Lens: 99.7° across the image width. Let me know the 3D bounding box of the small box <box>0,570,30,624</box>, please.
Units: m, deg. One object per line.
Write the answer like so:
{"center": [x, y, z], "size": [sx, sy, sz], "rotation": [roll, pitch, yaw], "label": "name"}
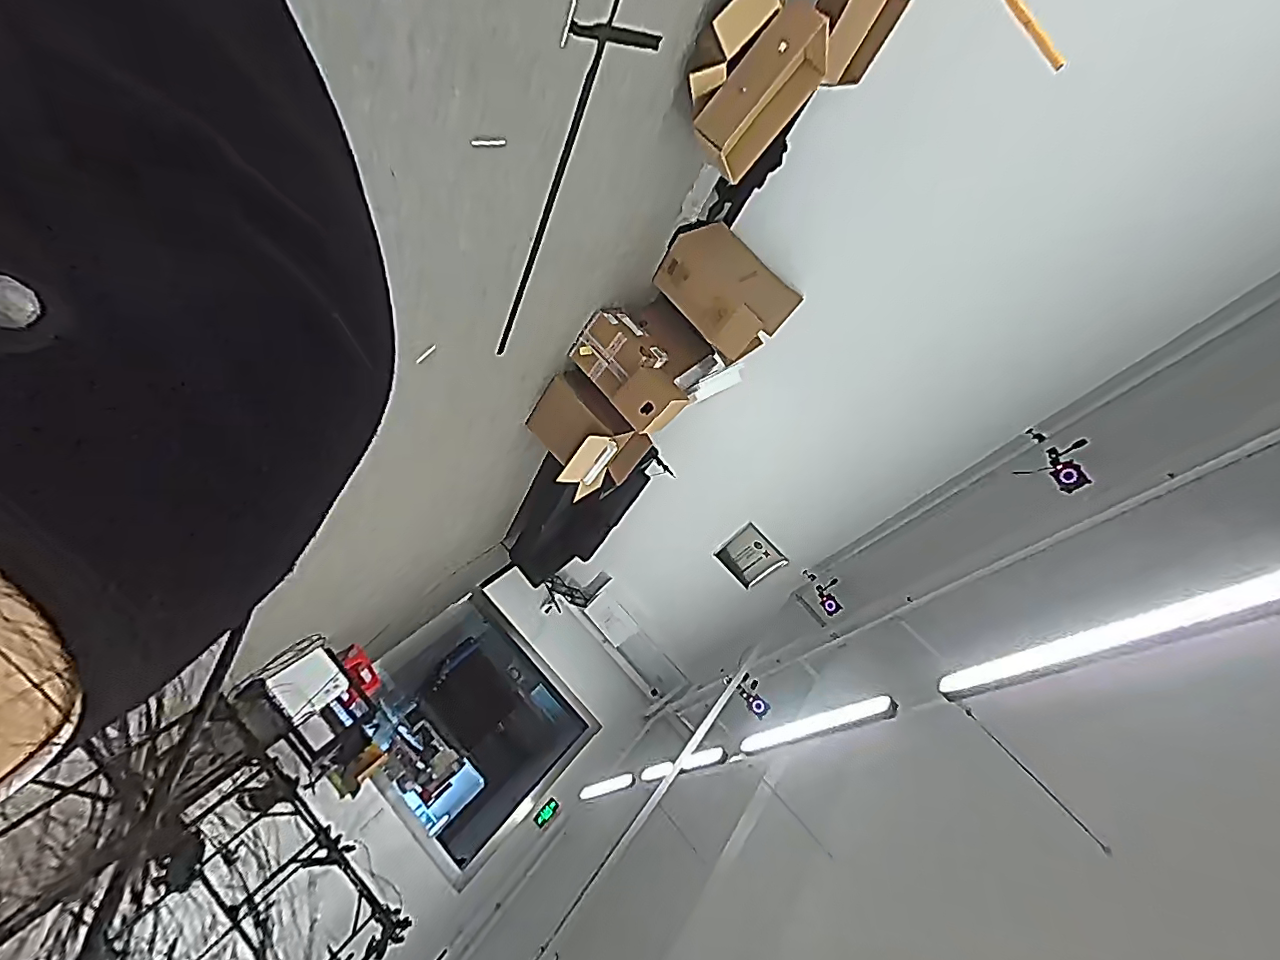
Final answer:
{"center": [-2.060, 0.360, 1.662], "size": [0.168, 0.176, 0.179], "rotation": [-38, 171, -41], "label": "small box"}
